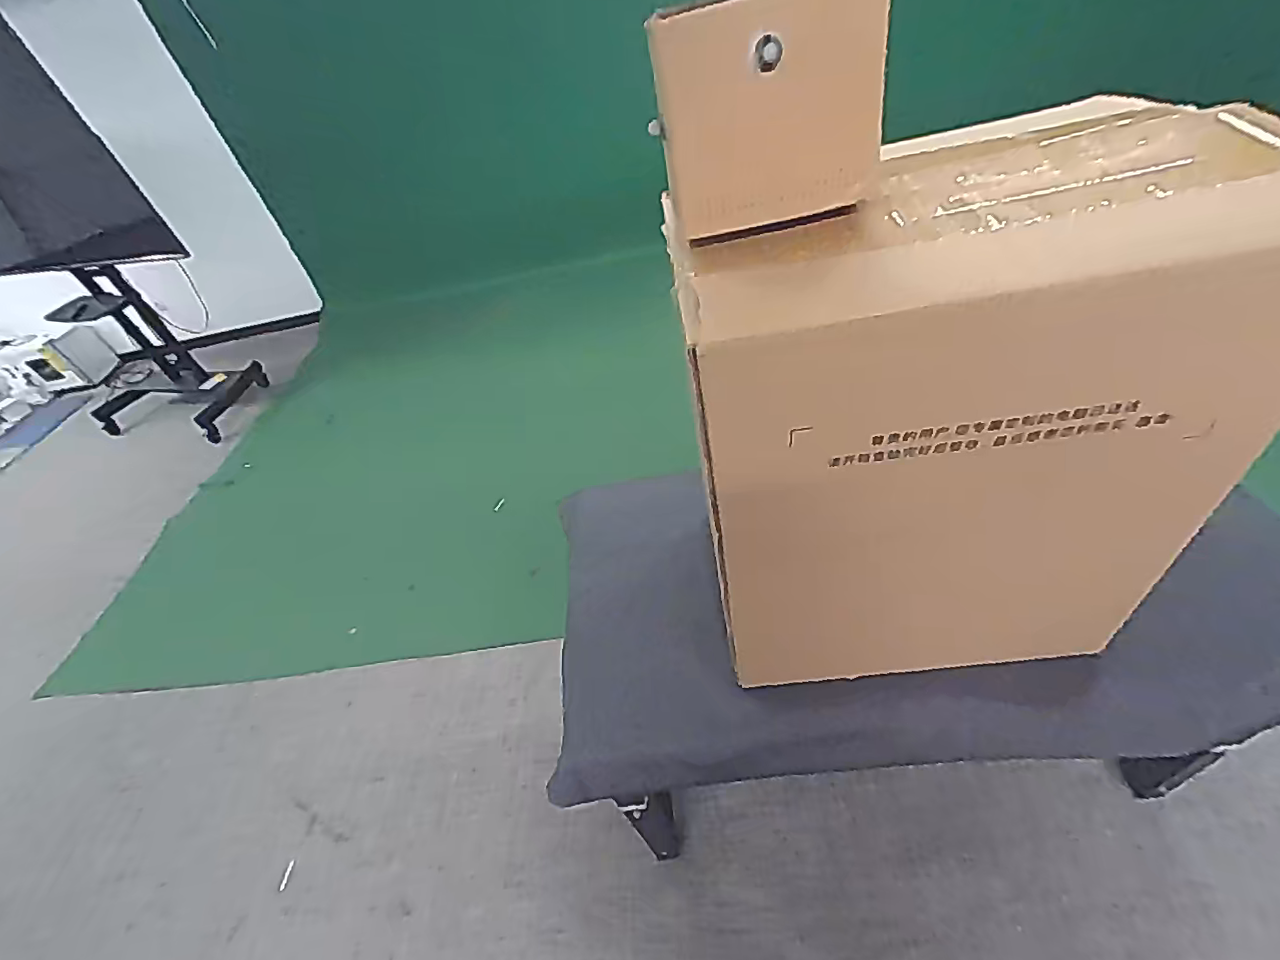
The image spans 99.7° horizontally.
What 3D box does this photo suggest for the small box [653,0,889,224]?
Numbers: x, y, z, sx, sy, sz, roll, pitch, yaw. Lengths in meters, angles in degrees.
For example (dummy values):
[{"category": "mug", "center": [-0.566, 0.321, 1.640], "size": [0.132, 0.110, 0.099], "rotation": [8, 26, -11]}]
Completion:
[{"category": "small box", "center": [0.113, -0.351, 0.501], "size": [0.179, 0.176, 0.168], "rotation": [-8, 37, 3]}]
